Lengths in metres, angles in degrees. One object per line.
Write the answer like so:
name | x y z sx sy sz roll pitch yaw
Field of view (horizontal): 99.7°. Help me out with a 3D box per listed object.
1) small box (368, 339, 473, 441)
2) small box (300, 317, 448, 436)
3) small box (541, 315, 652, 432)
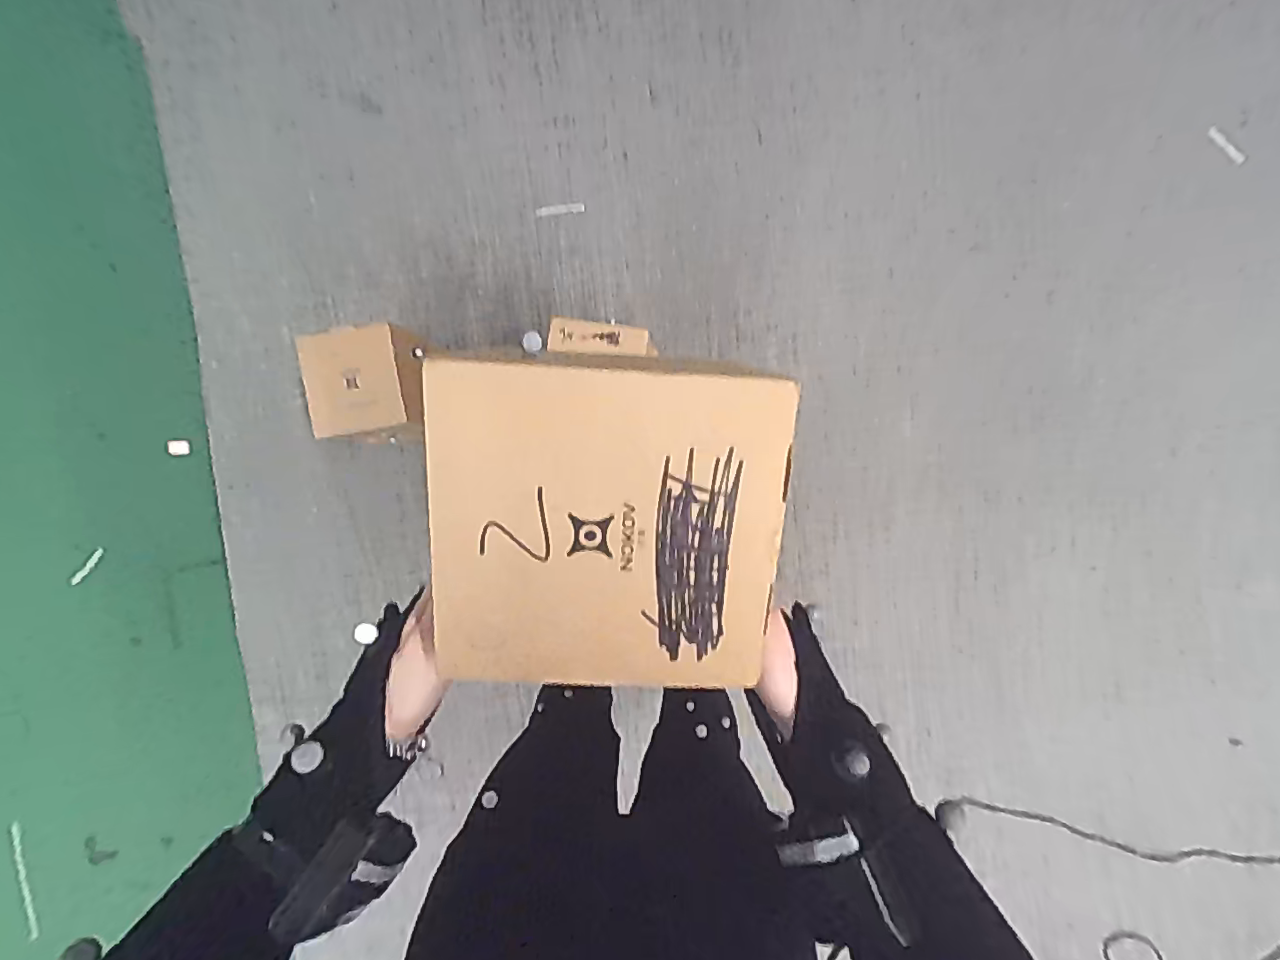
small box | -0.473 -0.183 1.150 0.168 0.176 0.179 -11 93 2
small box | -0.474 -0.179 0.988 0.168 0.176 0.179 -10 93 4
small box | -0.070 -0.182 0.973 0.168 0.176 0.179 8 94 2
